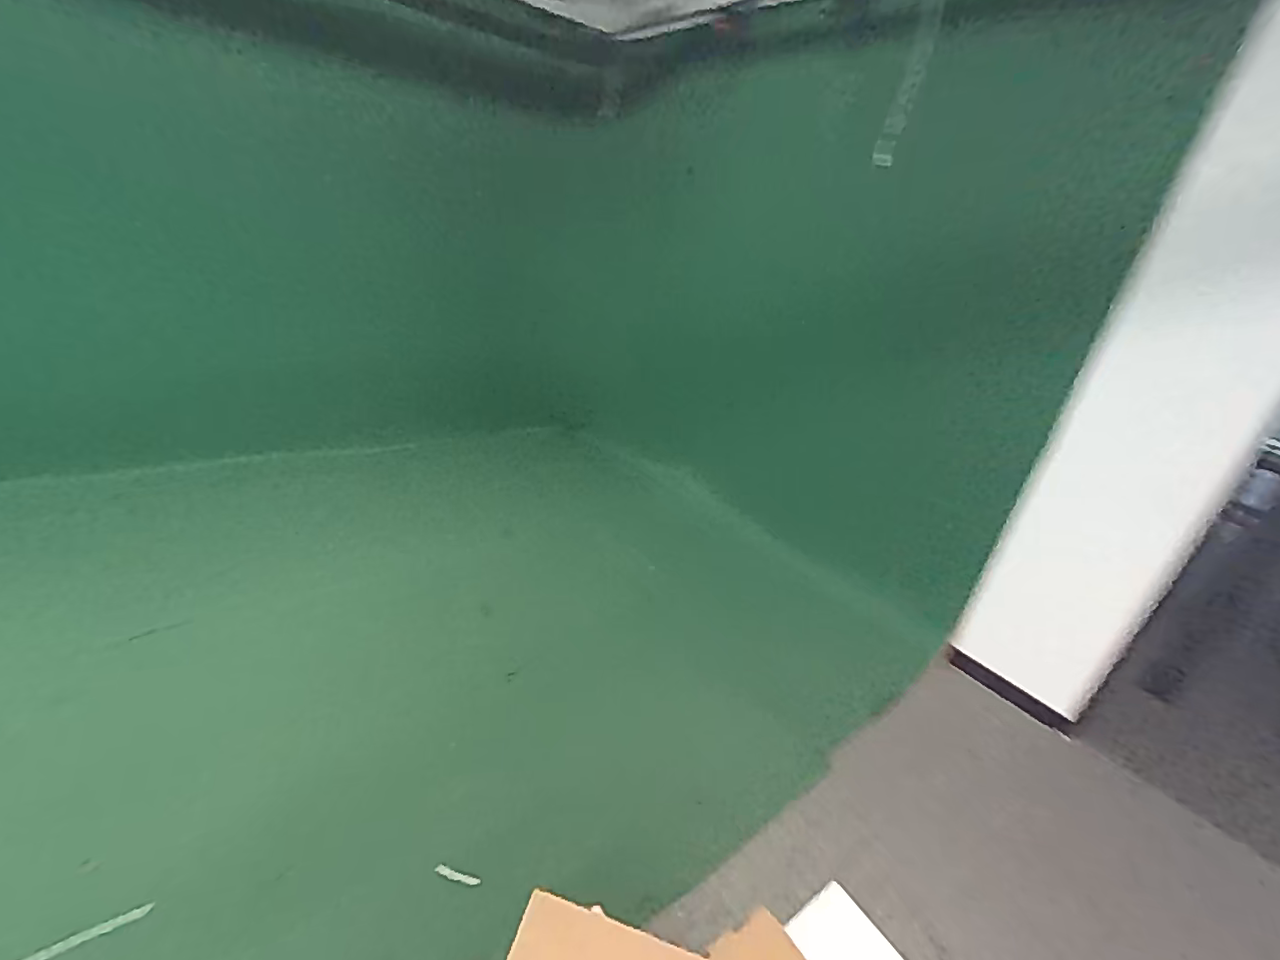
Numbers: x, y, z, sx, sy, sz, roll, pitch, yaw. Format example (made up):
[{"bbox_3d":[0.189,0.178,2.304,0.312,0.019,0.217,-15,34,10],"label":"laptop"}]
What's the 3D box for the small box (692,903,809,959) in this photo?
[{"bbox_3d":[0.141,0.699,0.672,0.168,0.176,0.179,-10,32,-35],"label":"small box"}]
